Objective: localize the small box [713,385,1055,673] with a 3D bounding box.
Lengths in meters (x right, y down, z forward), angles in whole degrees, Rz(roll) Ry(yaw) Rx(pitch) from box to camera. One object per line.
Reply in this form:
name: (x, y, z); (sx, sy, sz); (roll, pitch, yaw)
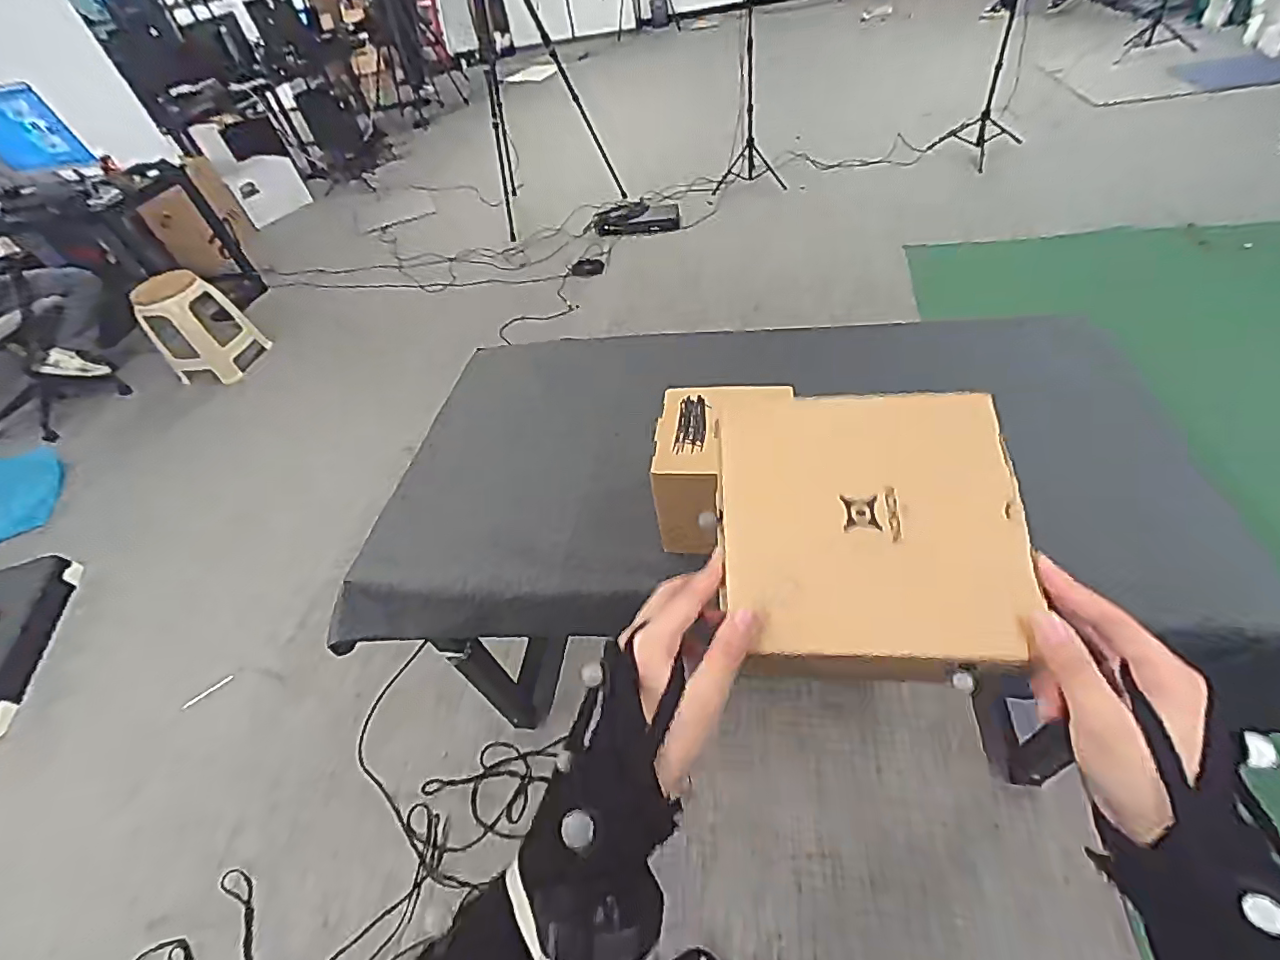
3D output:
small box: (0.142, 0.047, 0.395); (0.179, 0.176, 0.168); (0, 66, 5)
